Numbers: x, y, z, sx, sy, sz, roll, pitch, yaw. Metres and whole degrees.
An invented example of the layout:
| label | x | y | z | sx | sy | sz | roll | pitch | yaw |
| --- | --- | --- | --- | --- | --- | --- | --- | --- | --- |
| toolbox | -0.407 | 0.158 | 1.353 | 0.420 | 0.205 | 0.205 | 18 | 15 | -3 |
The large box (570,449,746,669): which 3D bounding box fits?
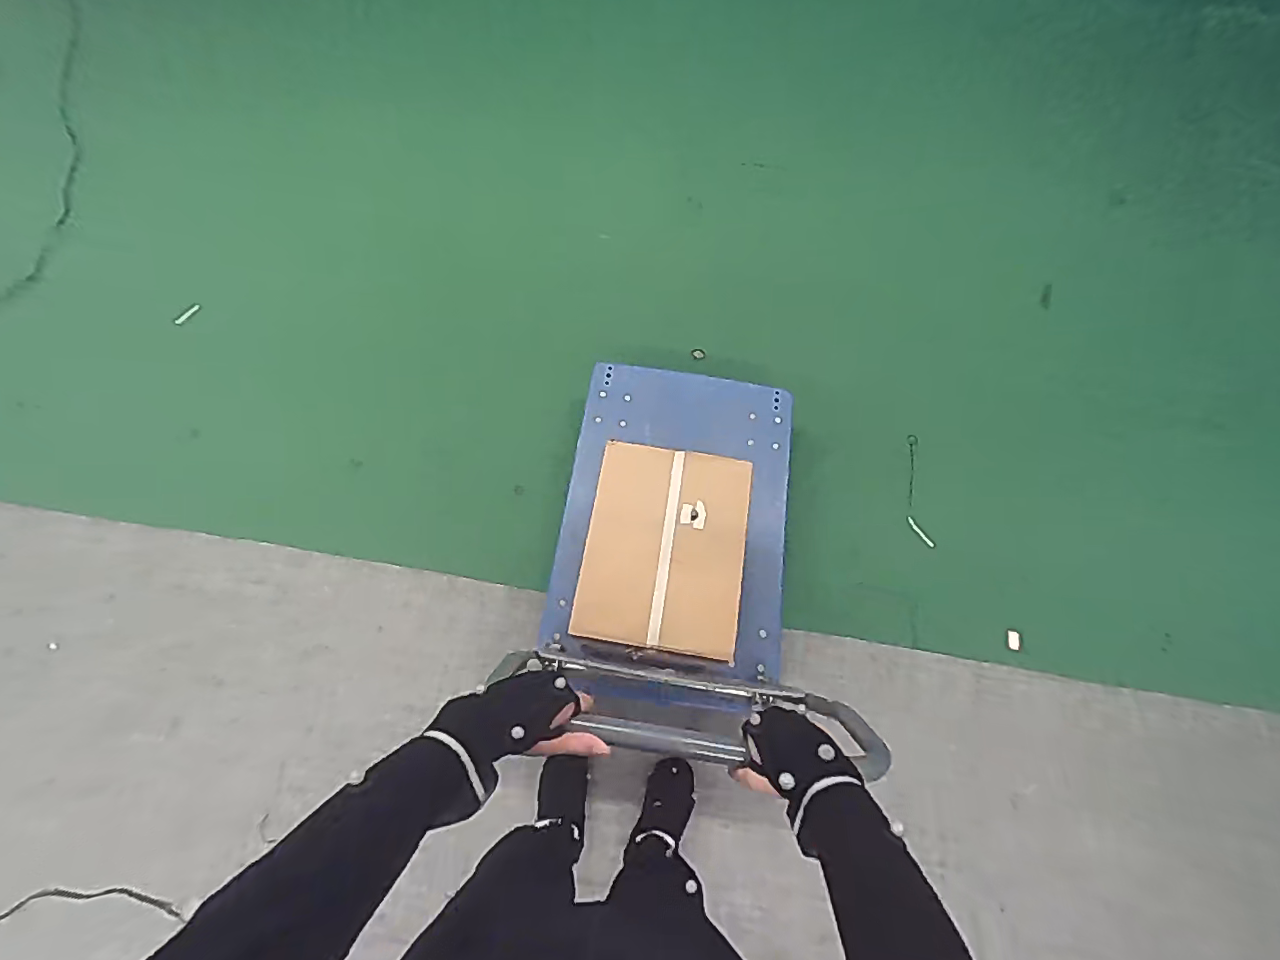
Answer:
| label | x | y | z | sx | sy | sz | roll | pitch | yaw |
| --- | --- | --- | --- | --- | --- | --- | --- | --- | --- |
| large box | 0.041 | 0.191 | 1.212 | 0.320 | 0.320 | 0.408 | 9 | 68 | 1 |
